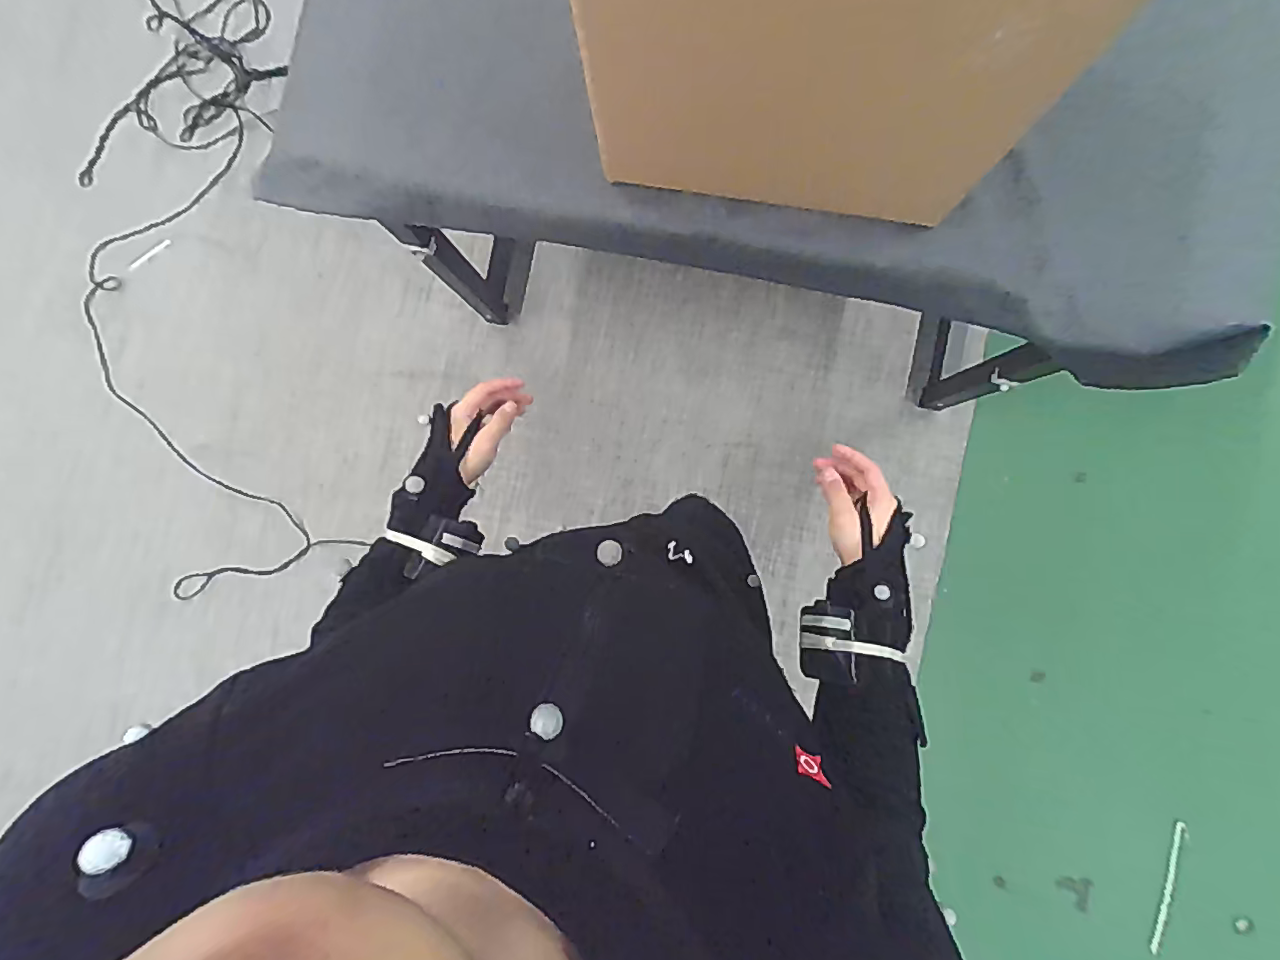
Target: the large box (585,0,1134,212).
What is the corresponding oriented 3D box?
[{"bbox_3d":[0.172,-0.499,0.509,0.408,0.320,0.320,9,89,2],"label":"large box"}]
